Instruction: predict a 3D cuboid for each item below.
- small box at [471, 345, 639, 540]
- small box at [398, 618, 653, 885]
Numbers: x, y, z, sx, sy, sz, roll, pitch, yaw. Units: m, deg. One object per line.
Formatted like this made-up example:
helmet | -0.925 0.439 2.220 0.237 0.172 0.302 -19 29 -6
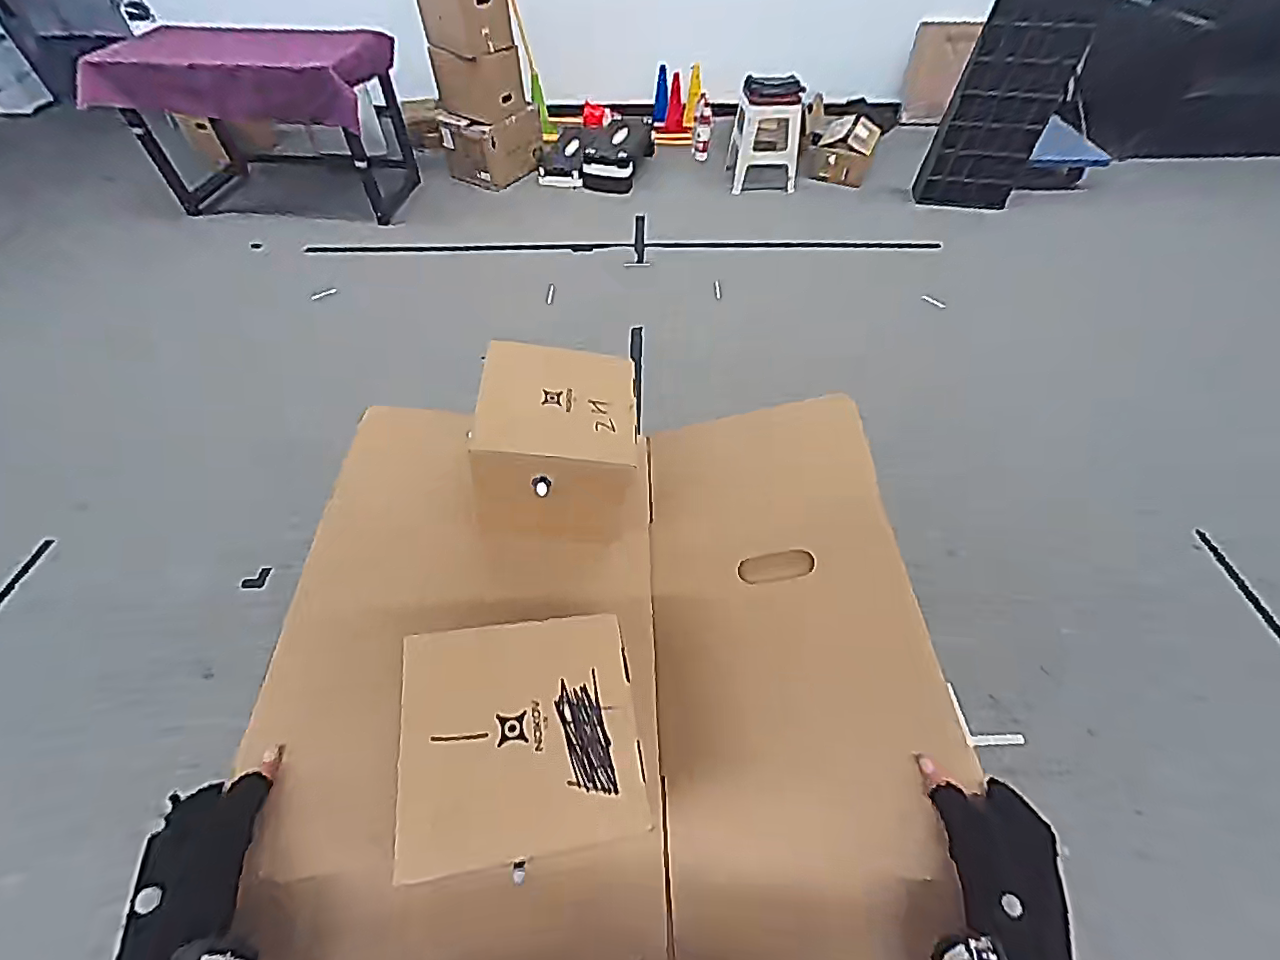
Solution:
small box | -0.102 -0.038 0.666 0.179 0.176 0.168 7 55 -10
small box | -0.102 0.235 0.477 0.179 0.176 0.168 -2 57 -15
